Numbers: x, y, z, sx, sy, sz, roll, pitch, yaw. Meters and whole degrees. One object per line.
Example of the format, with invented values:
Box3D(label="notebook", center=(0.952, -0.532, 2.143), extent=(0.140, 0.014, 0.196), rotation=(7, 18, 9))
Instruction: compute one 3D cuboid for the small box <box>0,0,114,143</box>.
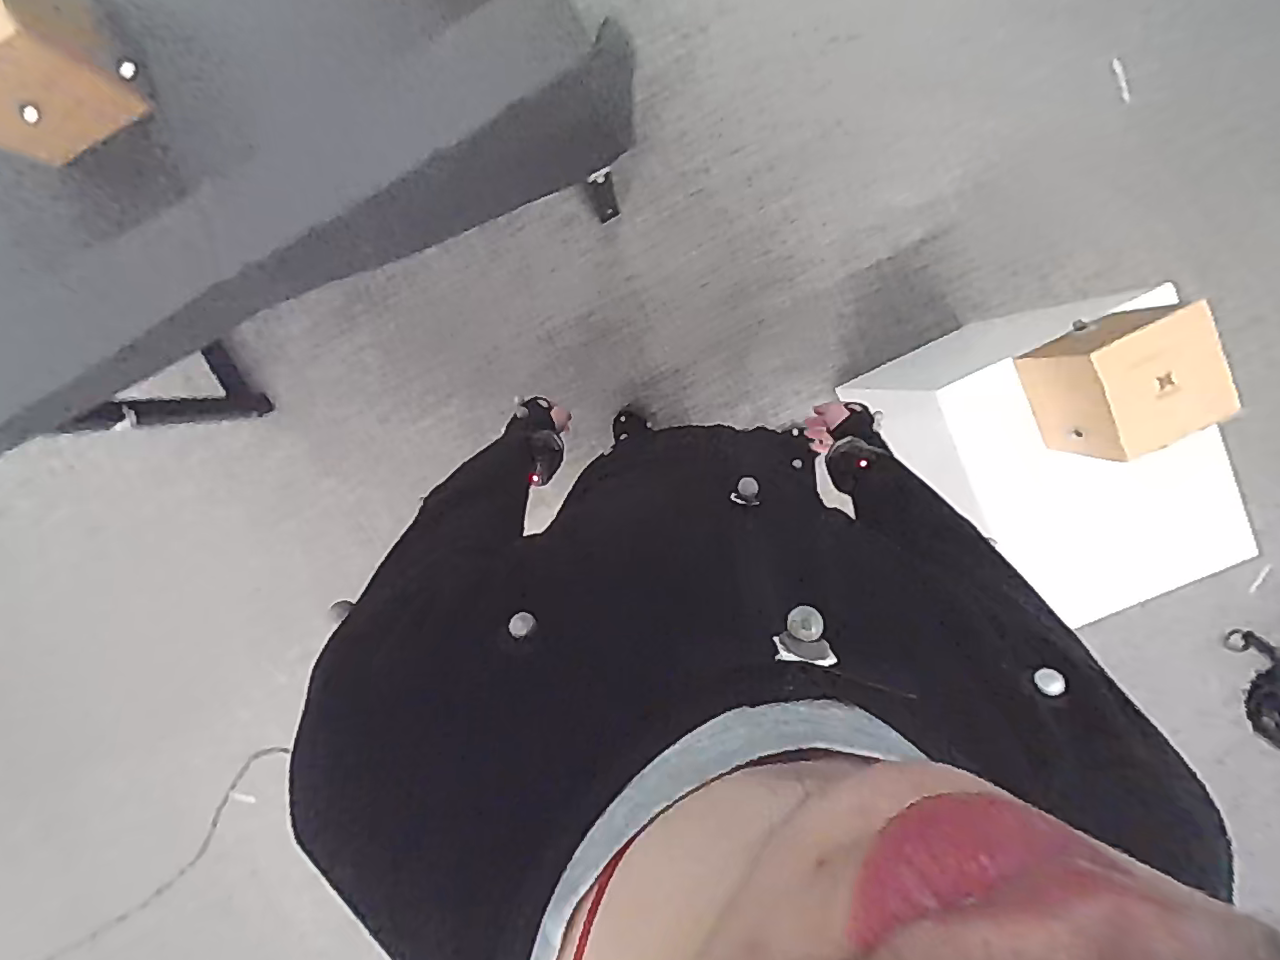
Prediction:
Box3D(label="small box", center=(-0.787, -0.544, 0.634), extent=(0.179, 0.176, 0.168), rotation=(-25, 98, 5))

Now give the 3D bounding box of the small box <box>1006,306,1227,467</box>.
Box3D(label="small box", center=(0.717, -0.142, 0.833), extent=(0.168, 0.176, 0.179), rotation=(-27, 99, 3))
